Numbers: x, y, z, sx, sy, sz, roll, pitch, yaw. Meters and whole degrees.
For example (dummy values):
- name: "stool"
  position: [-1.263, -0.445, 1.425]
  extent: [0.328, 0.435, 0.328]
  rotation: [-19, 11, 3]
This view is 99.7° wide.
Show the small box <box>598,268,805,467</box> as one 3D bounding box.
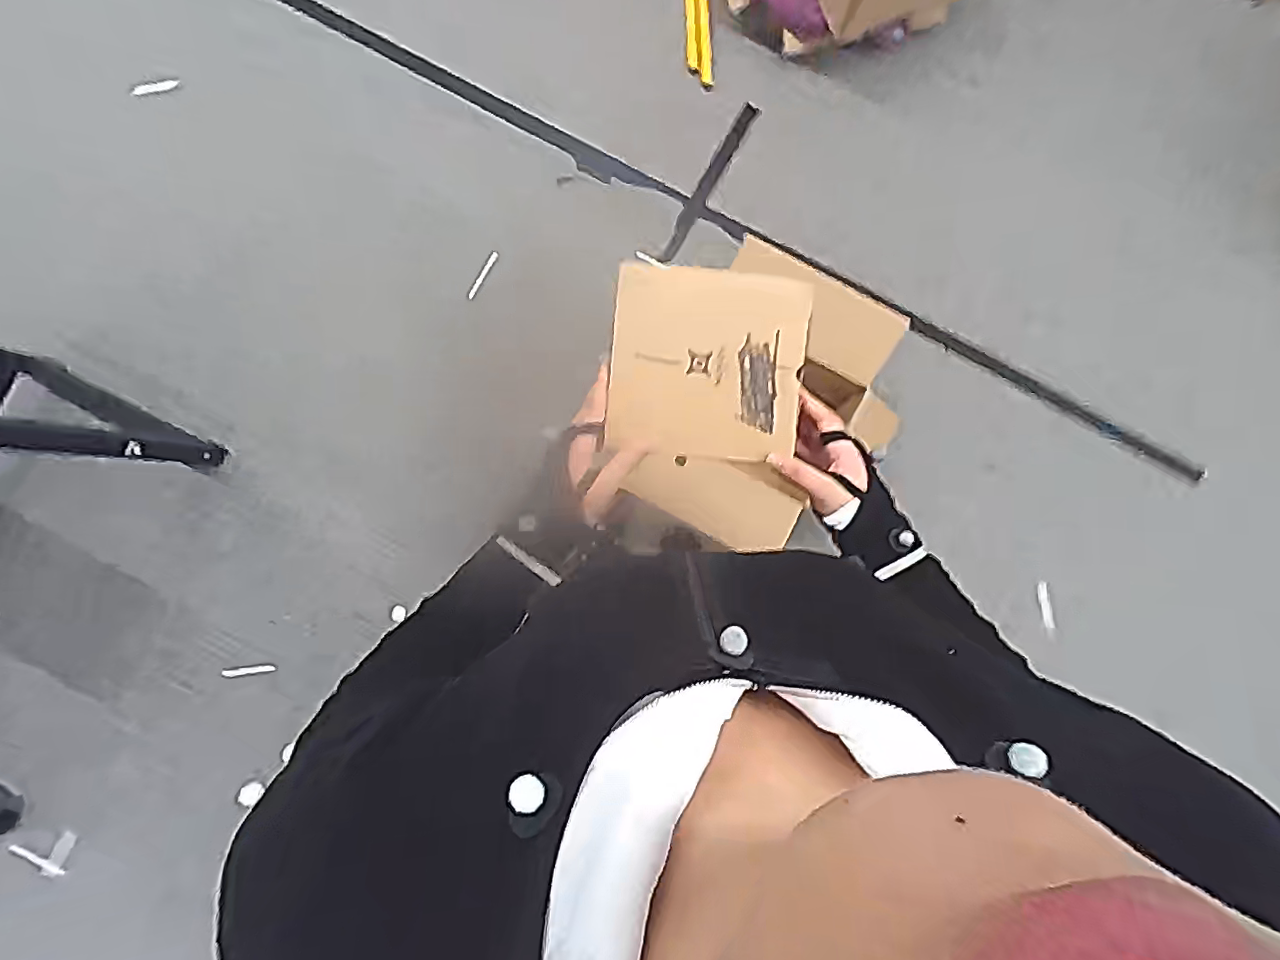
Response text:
- name: "small box"
  position: [0.052, -0.108, 0.564]
  extent: [0.179, 0.176, 0.168]
  rotation: [4, 96, -1]
